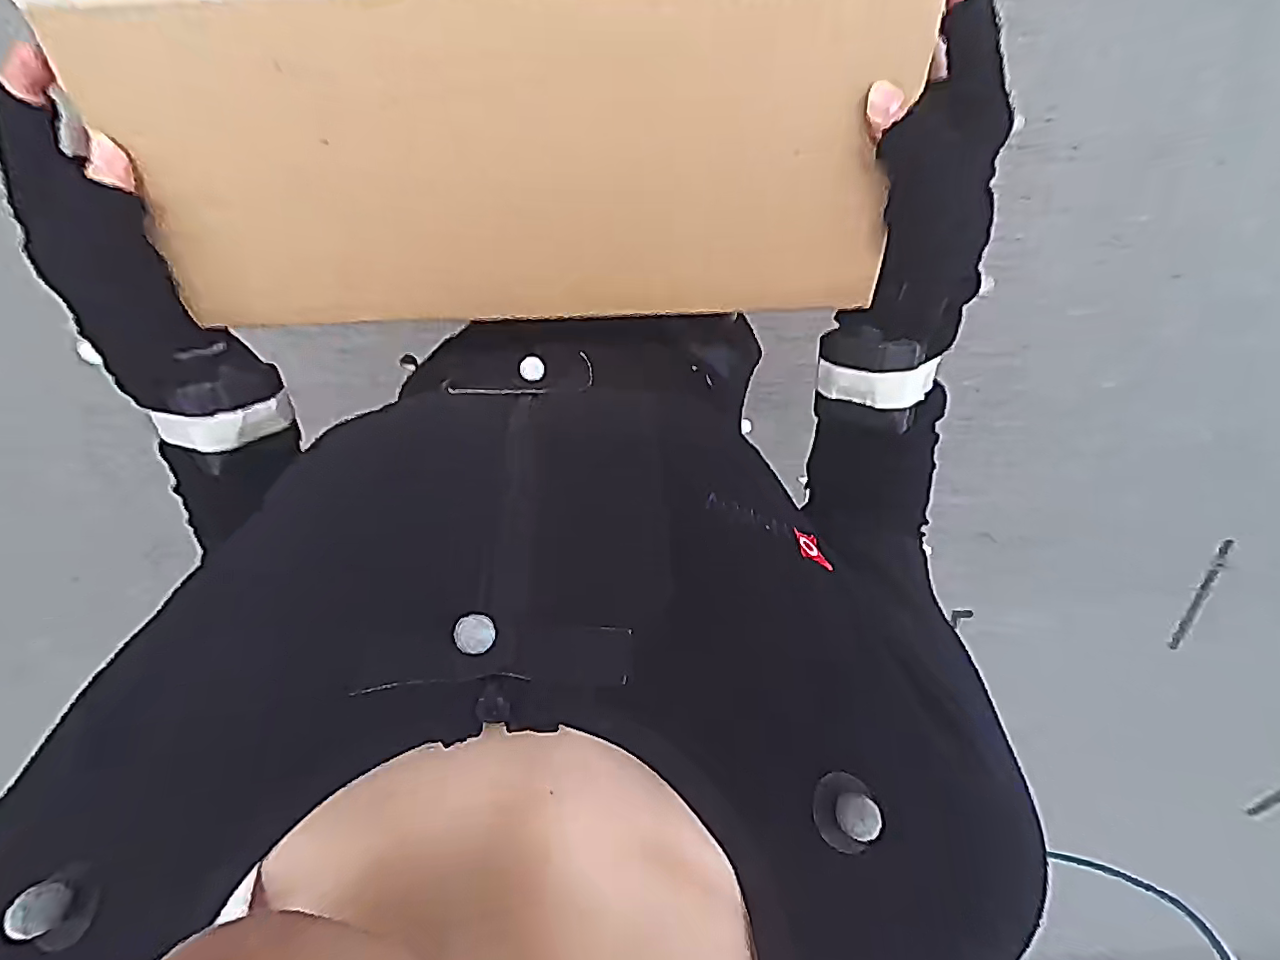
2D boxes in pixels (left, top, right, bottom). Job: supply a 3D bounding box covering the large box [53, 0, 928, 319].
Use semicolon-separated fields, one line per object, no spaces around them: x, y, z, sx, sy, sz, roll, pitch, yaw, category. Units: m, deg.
-0.069;-0.319;0.354;0.408;0.320;0.320;-2;129;1;large box
